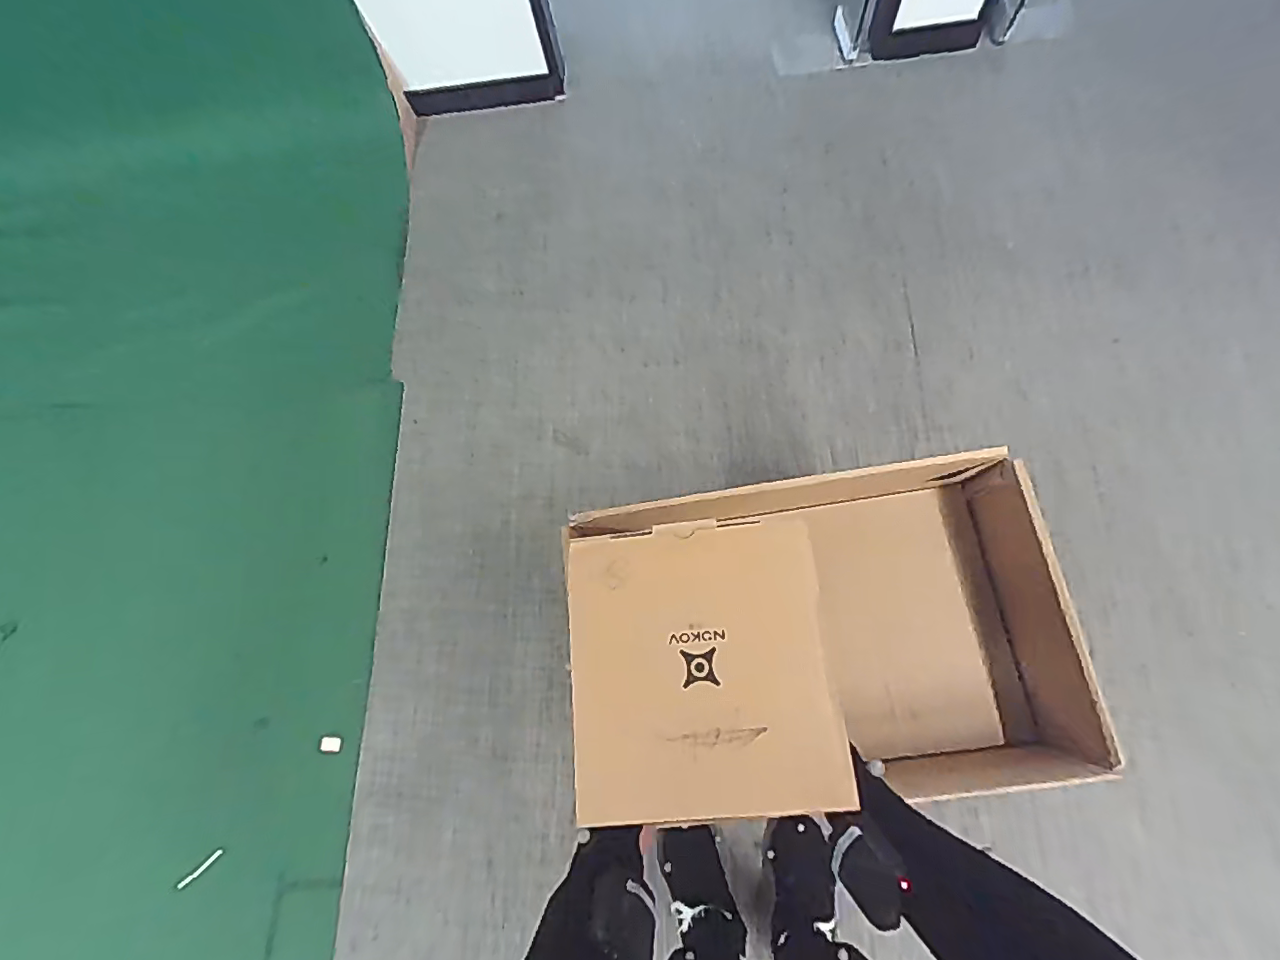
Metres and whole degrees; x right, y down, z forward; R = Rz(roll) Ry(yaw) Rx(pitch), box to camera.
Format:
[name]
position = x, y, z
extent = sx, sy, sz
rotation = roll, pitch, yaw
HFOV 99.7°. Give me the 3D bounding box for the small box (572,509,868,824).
[small box]
position = 0.047, 0.133, 0.403
extent = 0.168, 0.176, 0.179
rotation = -6, 71, 5
